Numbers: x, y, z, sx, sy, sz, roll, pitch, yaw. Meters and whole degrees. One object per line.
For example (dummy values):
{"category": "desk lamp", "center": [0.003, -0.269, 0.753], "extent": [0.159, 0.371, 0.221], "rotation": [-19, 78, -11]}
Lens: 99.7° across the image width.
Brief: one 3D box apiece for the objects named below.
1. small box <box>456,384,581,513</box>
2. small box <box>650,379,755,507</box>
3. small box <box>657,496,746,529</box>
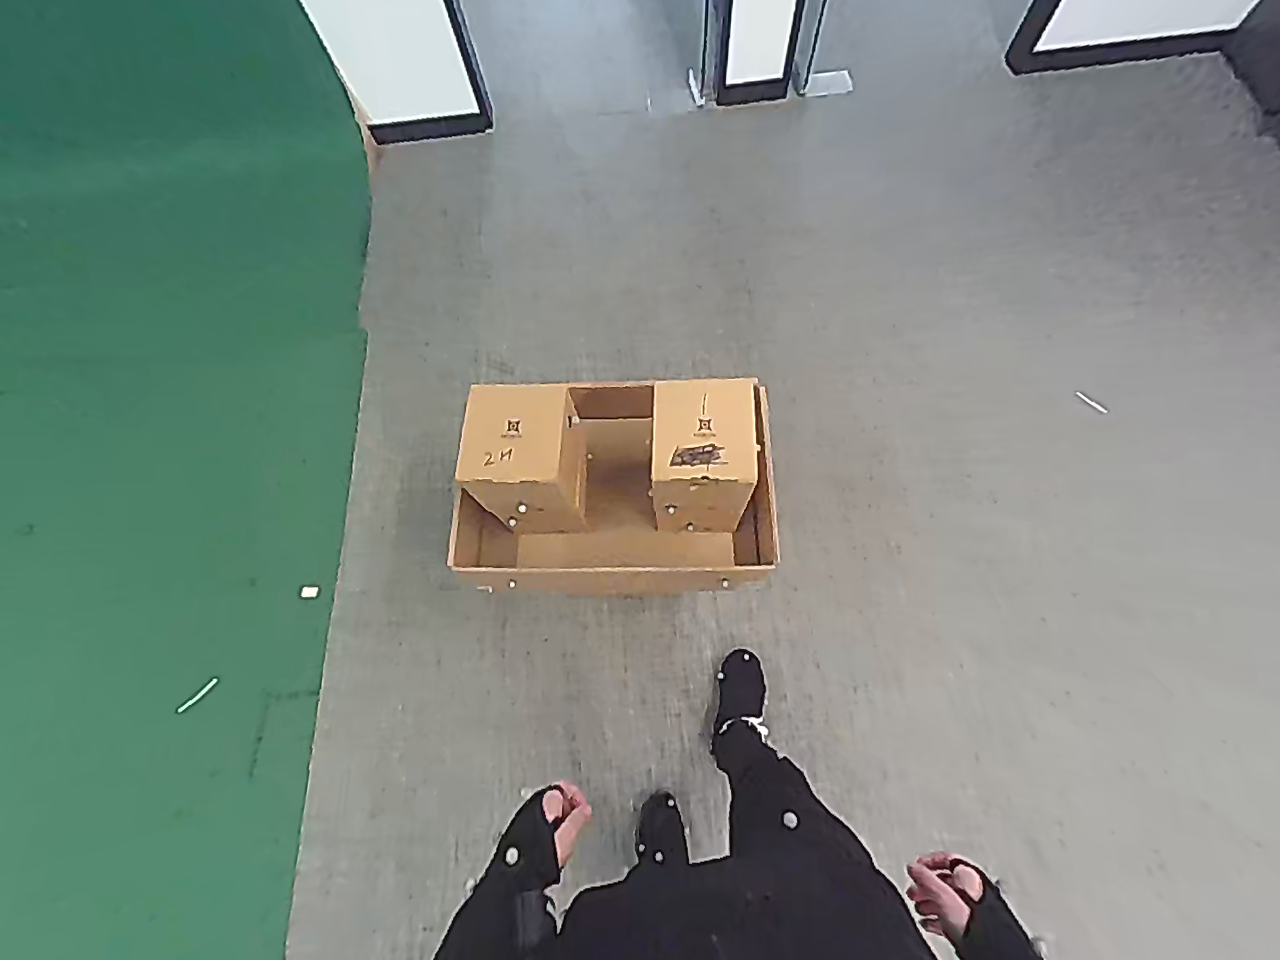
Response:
{"category": "small box", "center": [-0.201, -0.052, 0.951], "extent": [0.168, 0.176, 0.179], "rotation": [1, 70, 5]}
{"category": "small box", "center": [0.104, -0.057, 0.934], "extent": [0.168, 0.176, 0.179], "rotation": [0, 70, 3]}
{"category": "small box", "center": [0.117, -0.007, 1.090], "extent": [0.168, 0.176, 0.179], "rotation": [-1, 71, 3]}
